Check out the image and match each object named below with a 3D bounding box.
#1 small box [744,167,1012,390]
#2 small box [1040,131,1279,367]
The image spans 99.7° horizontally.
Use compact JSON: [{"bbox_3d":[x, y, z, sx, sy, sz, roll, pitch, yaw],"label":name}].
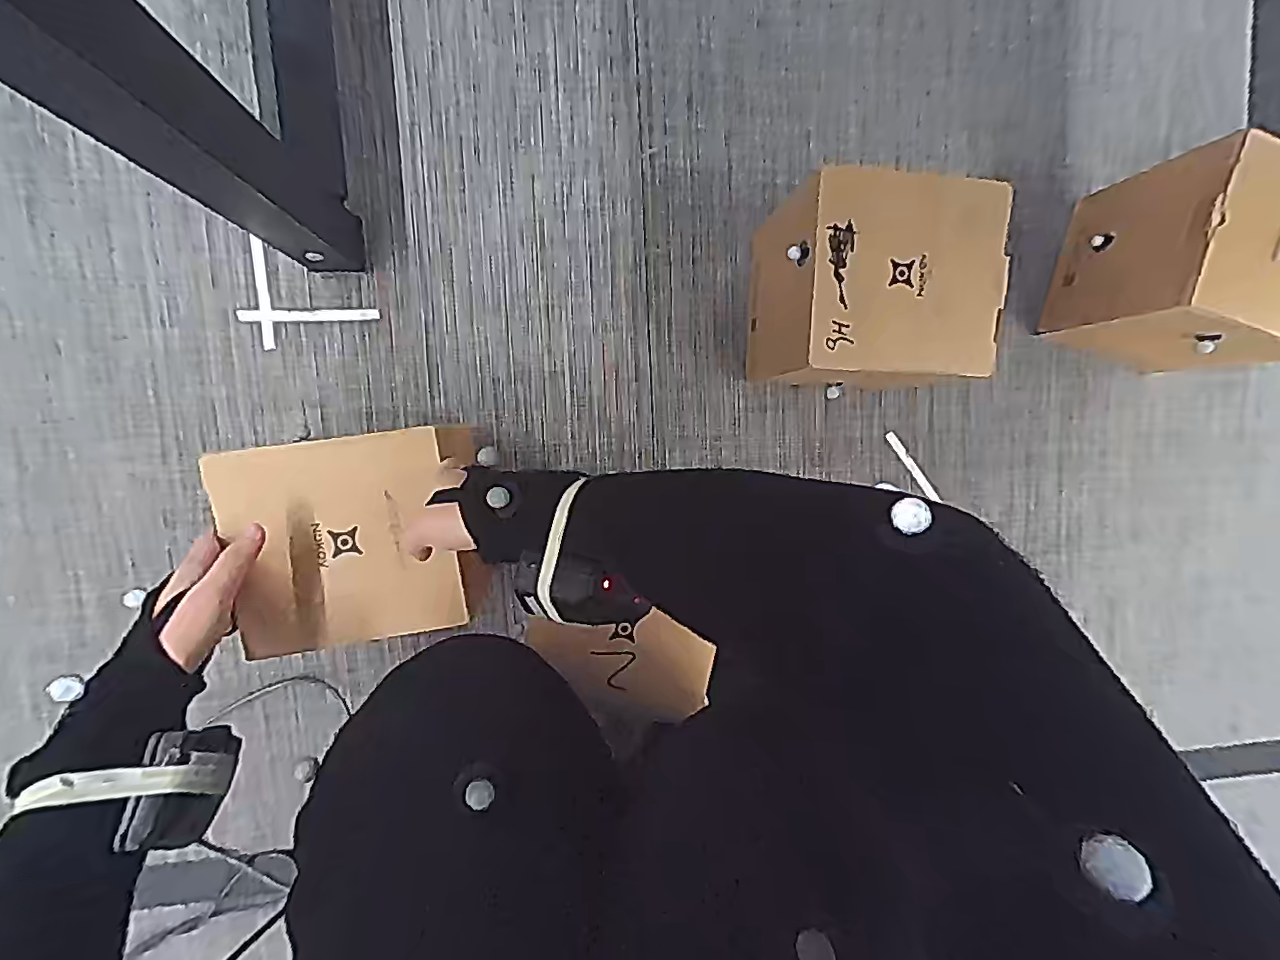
[{"bbox_3d":[0.217,-0.179,0.536,0.179,0.176,0.168,1,96,-8],"label":"small box"},{"bbox_3d":[0.592,-0.224,0.580,0.179,0.176,0.168,14,94,-8],"label":"small box"}]
